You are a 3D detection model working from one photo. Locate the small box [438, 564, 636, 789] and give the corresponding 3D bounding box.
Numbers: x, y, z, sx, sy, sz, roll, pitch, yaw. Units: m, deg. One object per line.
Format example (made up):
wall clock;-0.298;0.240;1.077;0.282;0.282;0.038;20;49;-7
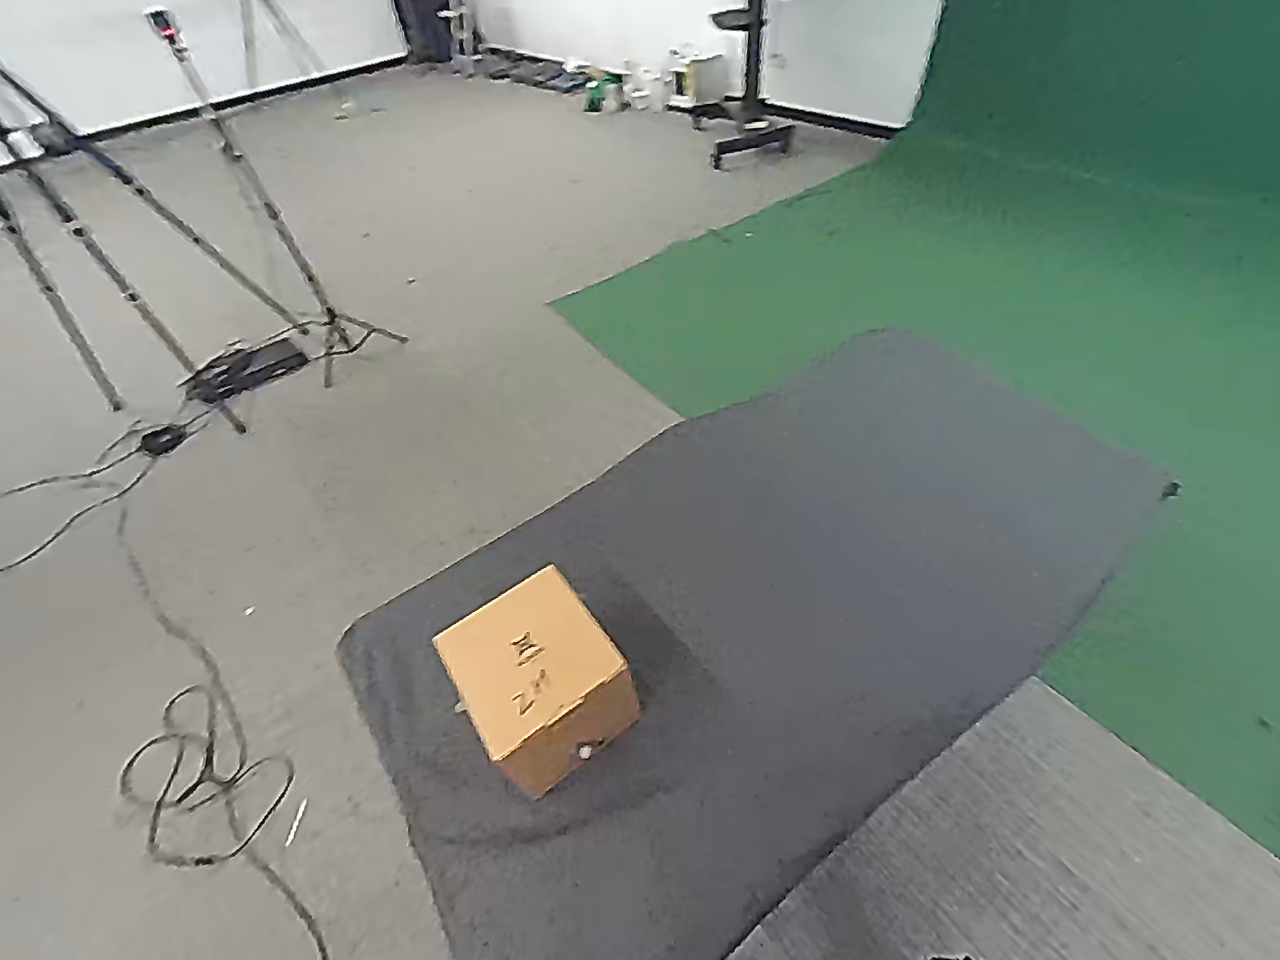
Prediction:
small box;-0.123;0.248;0.683;0.168;0.176;0.179;-31;52;-20
